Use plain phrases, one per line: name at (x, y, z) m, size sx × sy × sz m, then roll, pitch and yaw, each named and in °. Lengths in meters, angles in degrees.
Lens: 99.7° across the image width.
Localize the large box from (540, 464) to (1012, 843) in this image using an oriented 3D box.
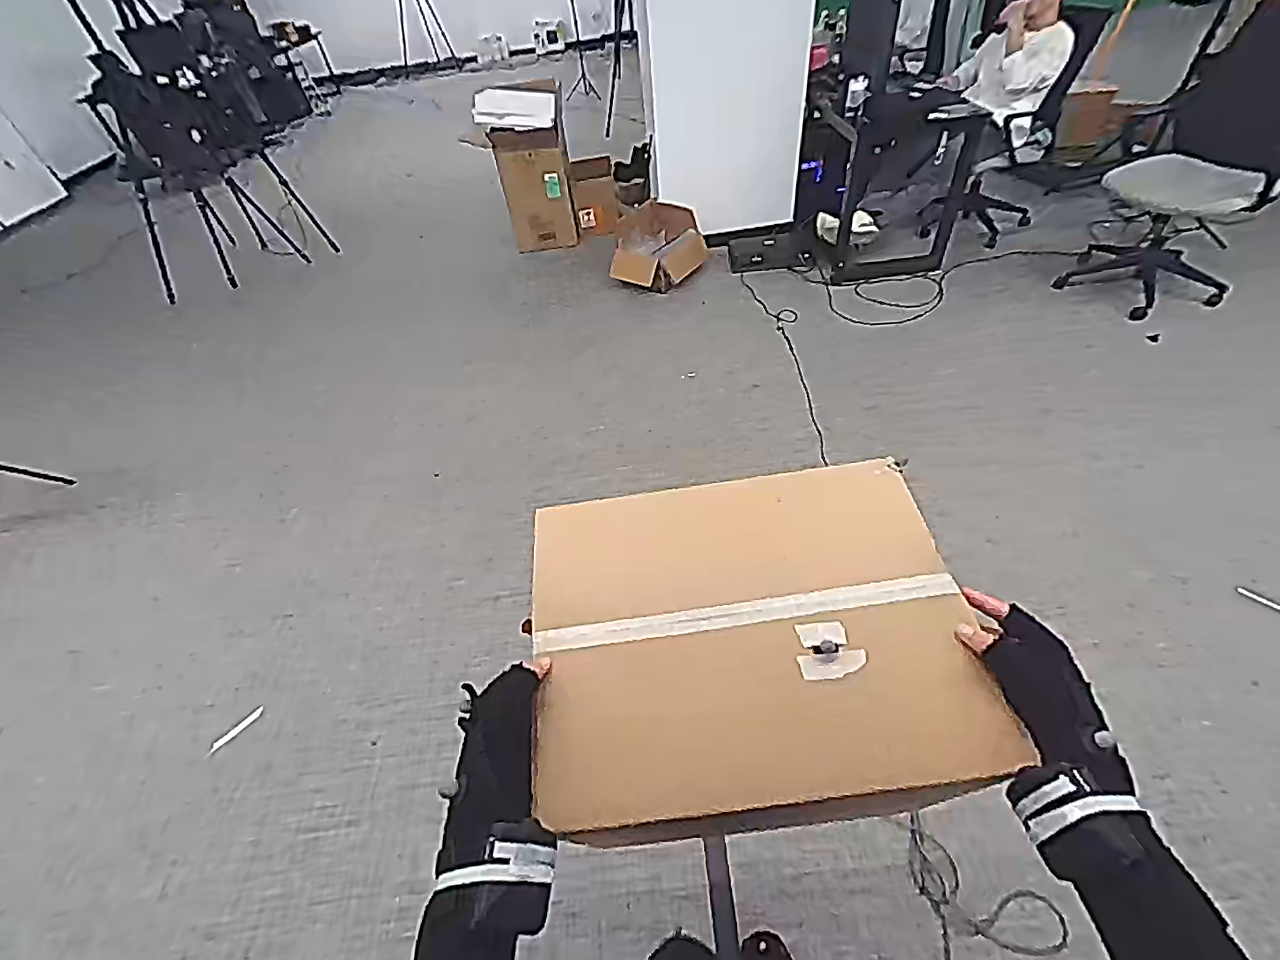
large box at (0.111, 0.221, 0.655) m, size 0.408 × 0.320 × 0.320 m, roll -9°, pitch 54°, yaw 1°
